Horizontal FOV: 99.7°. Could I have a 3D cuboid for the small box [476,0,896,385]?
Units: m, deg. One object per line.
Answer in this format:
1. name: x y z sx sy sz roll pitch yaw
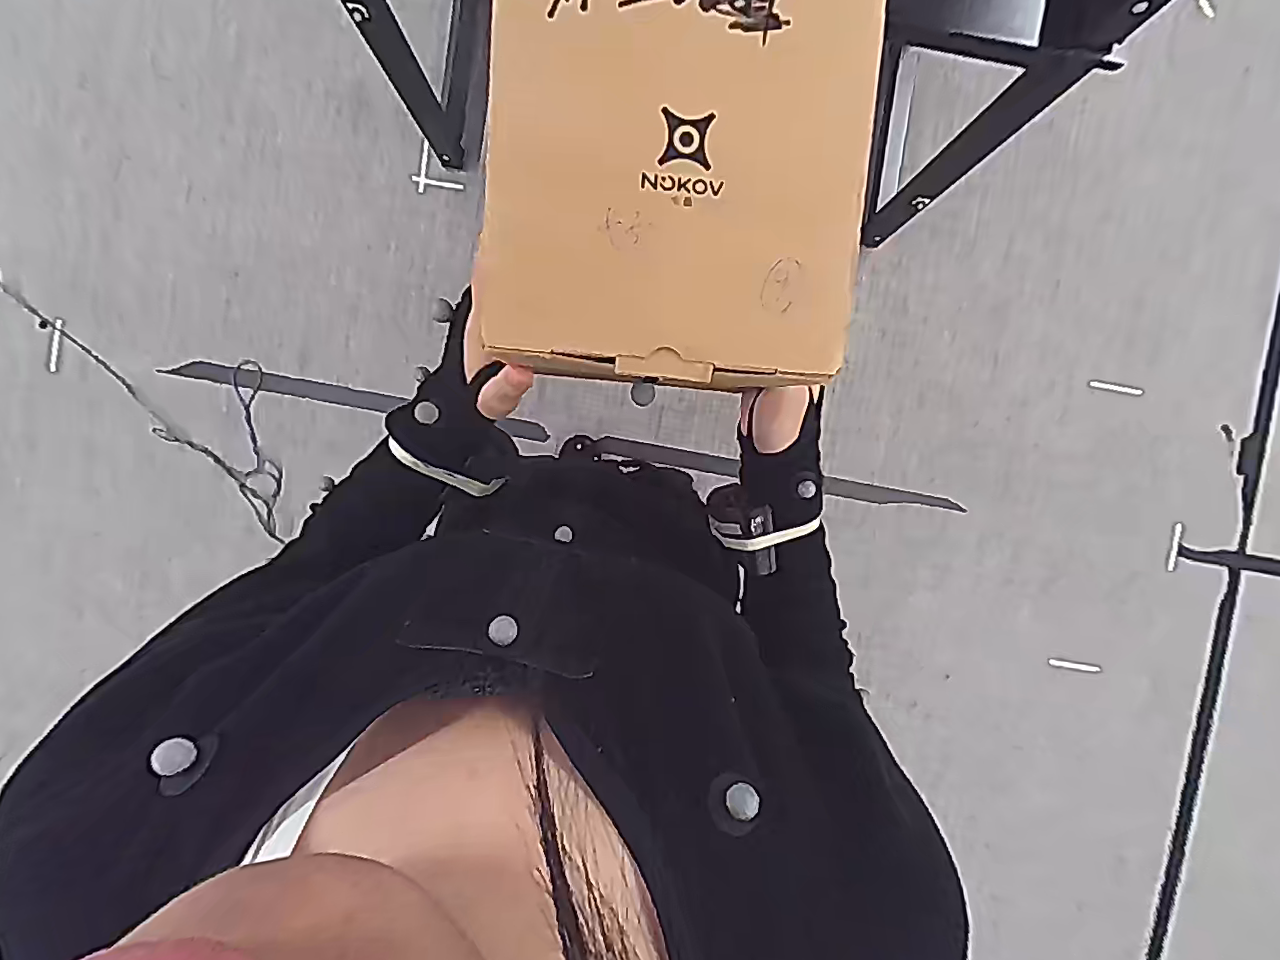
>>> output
1. small box: 0.011 -0.148 0.305 0.168 0.176 0.179 4 98 -7
